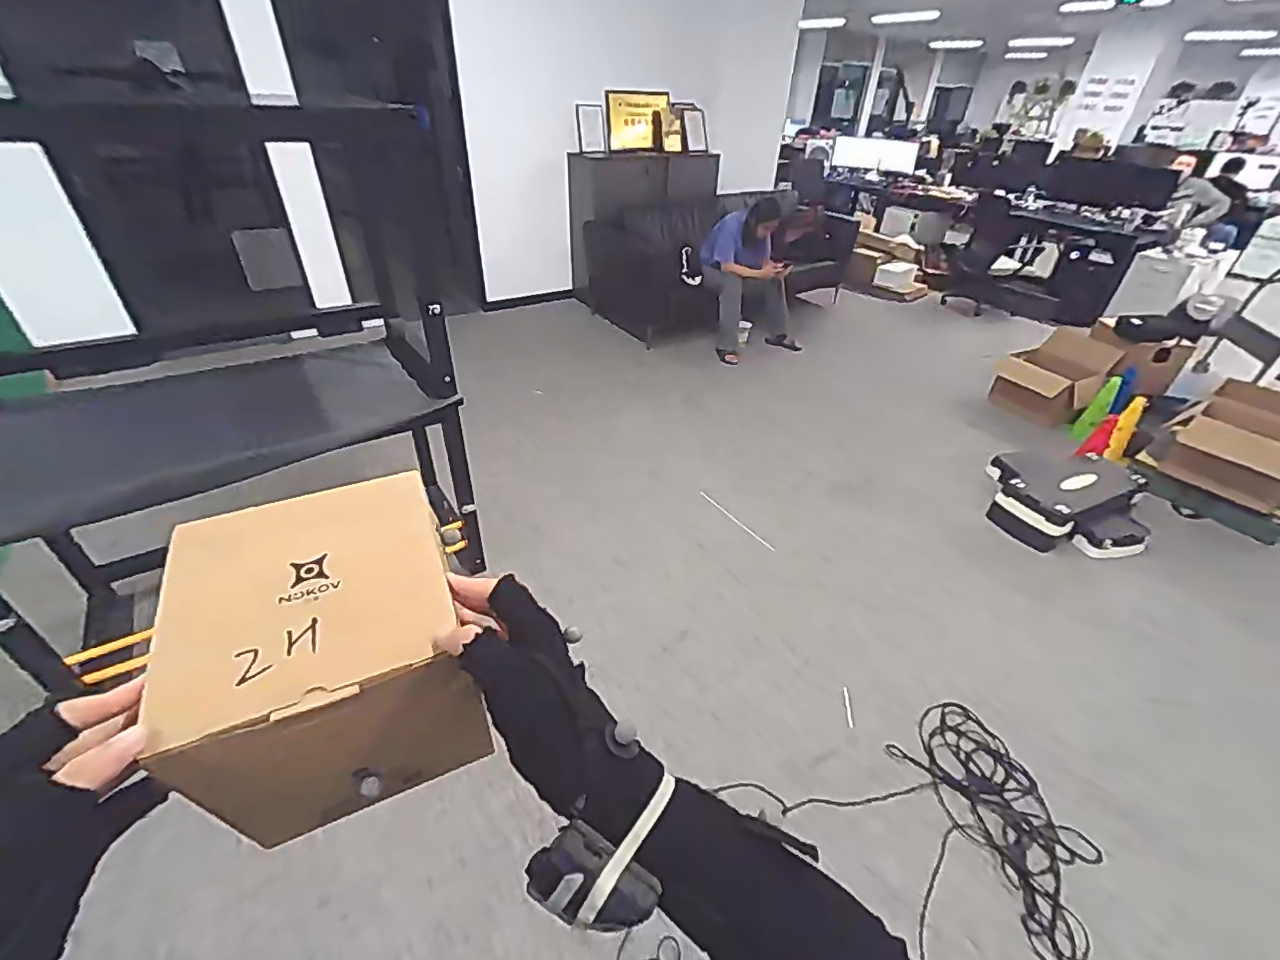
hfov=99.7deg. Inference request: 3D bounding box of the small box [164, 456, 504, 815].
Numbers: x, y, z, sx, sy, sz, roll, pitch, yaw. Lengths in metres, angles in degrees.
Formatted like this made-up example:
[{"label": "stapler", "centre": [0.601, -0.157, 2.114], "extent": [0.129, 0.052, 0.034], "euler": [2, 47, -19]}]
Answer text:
[{"label": "small box", "centre": [-0.213, 0.112, 0.416], "extent": [0.168, 0.176, 0.179], "euler": [-16, 46, -20]}]
